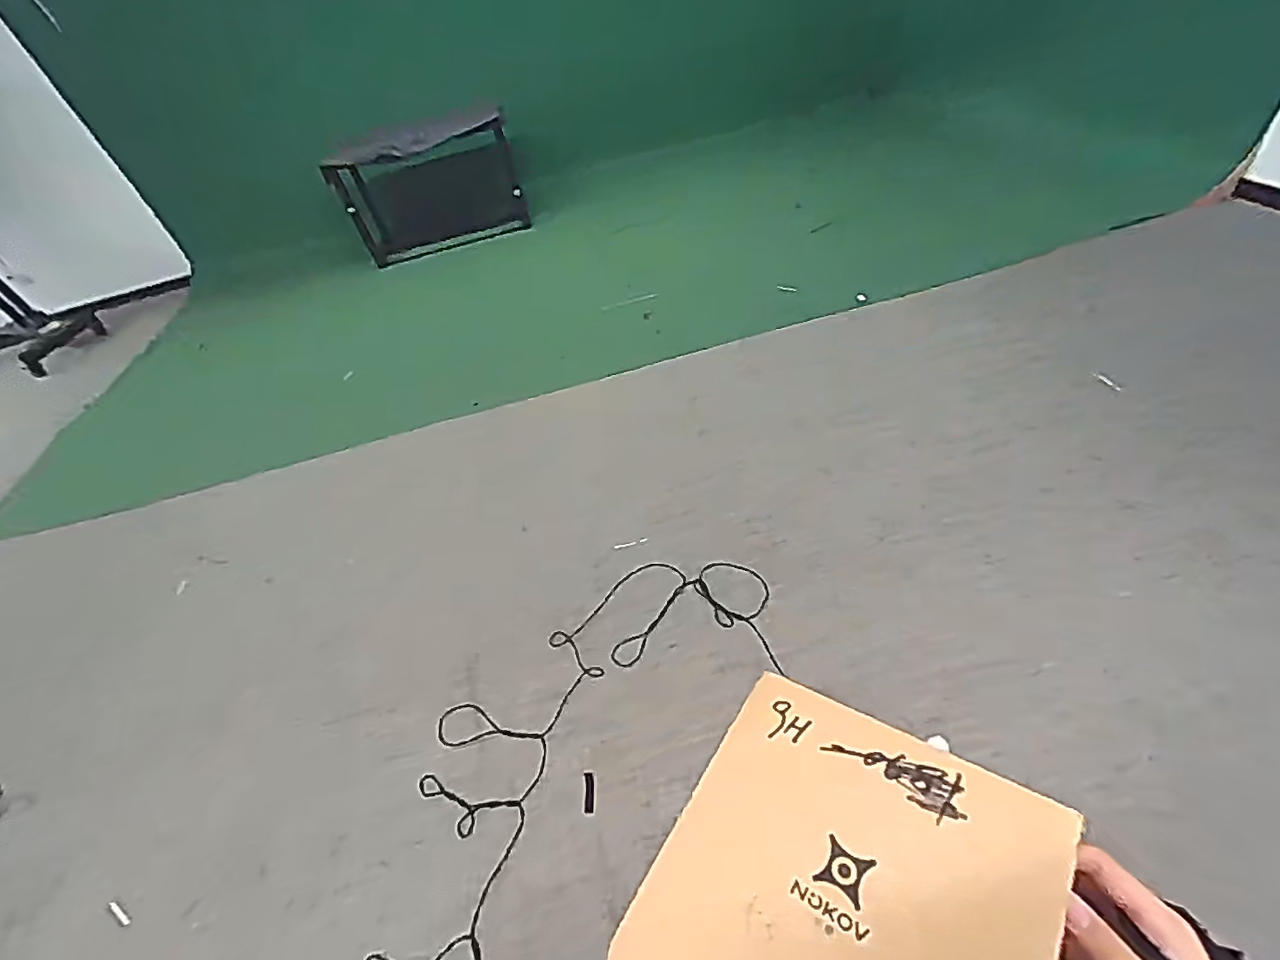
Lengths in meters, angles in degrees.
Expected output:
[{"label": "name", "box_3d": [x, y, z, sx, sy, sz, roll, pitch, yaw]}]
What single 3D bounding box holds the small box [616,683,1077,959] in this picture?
[{"label": "small box", "box_3d": [0.121, 0.262, 0.309, 0.168, 0.176, 0.179, 14, 51, 39]}]
